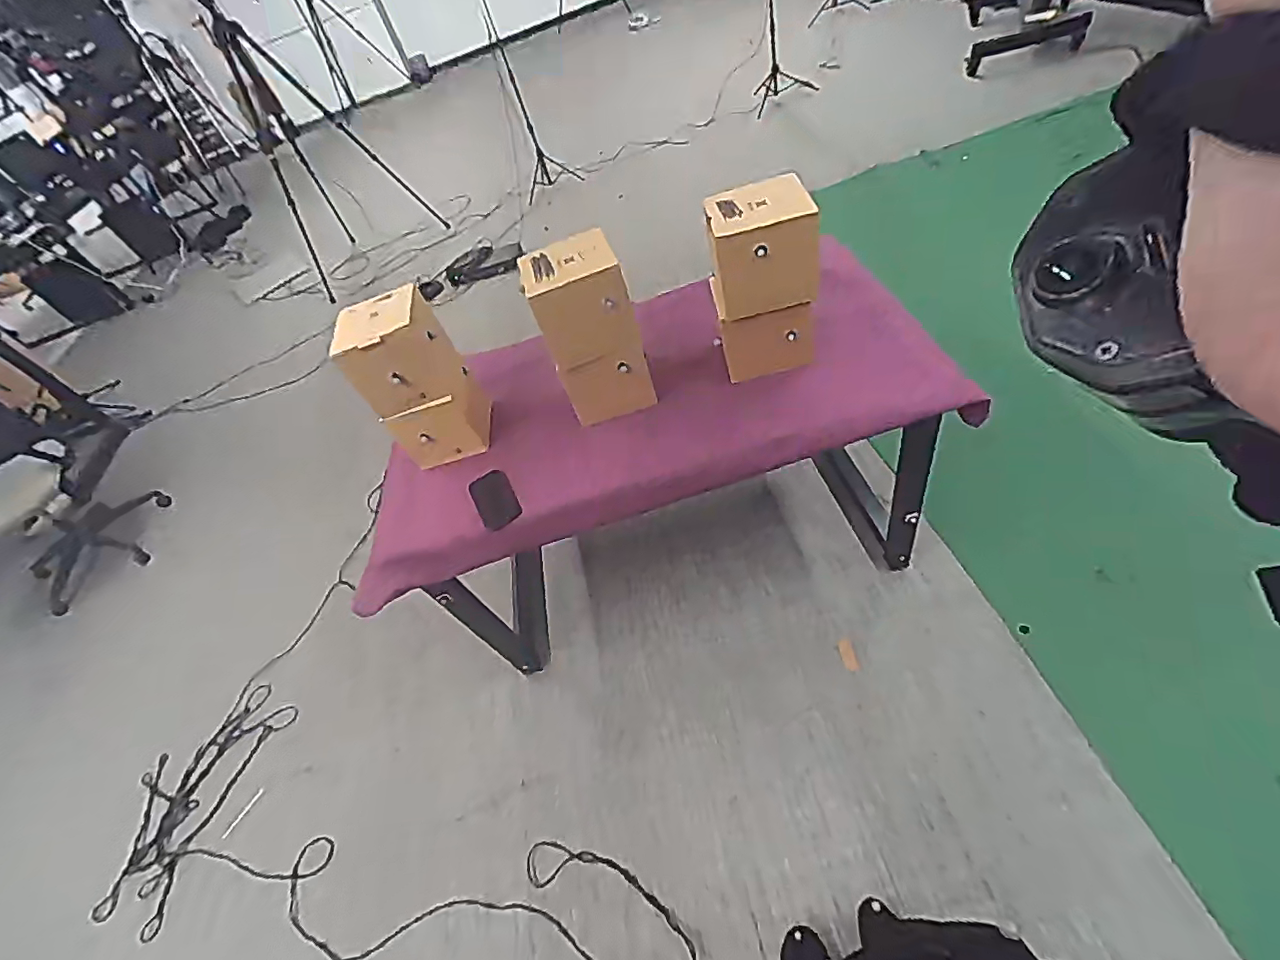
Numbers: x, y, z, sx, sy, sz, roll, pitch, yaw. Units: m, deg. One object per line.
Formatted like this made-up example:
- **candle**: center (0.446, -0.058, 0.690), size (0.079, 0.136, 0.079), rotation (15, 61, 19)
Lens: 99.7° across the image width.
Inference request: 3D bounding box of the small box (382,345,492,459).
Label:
- **small box**: center (-0.448, -0.167, 1.222), size (0.168, 0.176, 0.179), rotation (-17, 49, 6)

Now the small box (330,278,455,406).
- **small box**: center (-0.494, -0.272, 1.105), size (0.168, 0.176, 0.179), rotation (-20, 49, 2)

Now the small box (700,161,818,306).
- **small box**: center (0.219, -0.446, 0.994), size (0.179, 0.176, 0.168), rotation (-12, 49, 9)

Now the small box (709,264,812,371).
- **small box**: center (0.253, -0.355, 1.127), size (0.179, 0.176, 0.168), rotation (-13, 49, 10)

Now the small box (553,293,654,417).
- **small box**: center (-0.074, -0.266, 1.169), size (0.179, 0.176, 0.168), rotation (-17, 49, 6)
